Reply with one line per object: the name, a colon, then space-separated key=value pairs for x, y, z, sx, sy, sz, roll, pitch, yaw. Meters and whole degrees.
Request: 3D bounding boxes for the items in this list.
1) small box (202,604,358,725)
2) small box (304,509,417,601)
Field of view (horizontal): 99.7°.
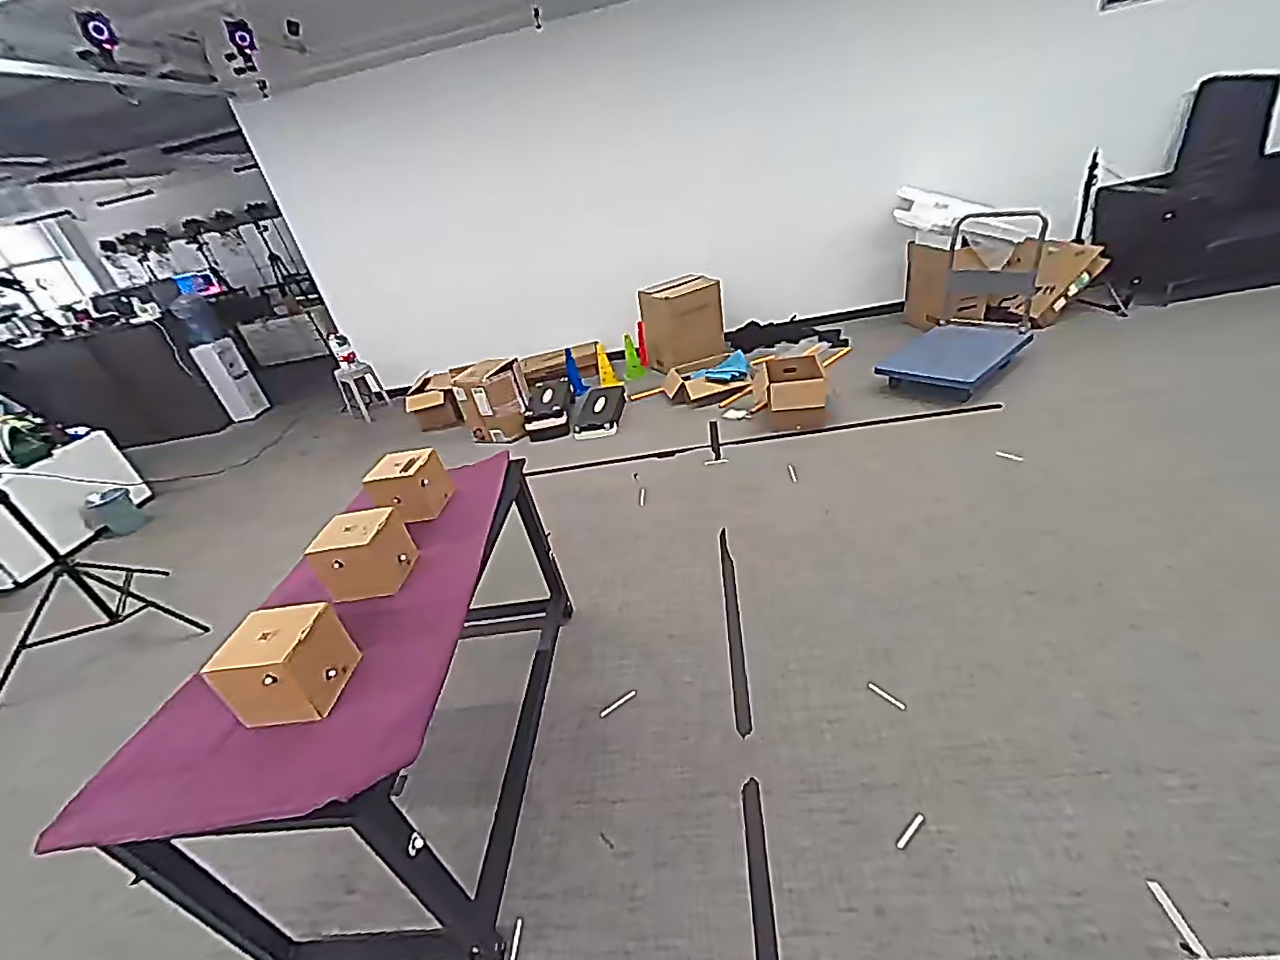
small box: x=-0.728 y=0.383 z=1.116 sx=0.179 sy=0.176 sz=0.168 roll=-8 pitch=30 yaw=5
small box: x=-0.723 y=0.199 z=1.419 sx=0.179 sy=0.176 sz=0.168 roll=-8 pitch=31 yaw=6
